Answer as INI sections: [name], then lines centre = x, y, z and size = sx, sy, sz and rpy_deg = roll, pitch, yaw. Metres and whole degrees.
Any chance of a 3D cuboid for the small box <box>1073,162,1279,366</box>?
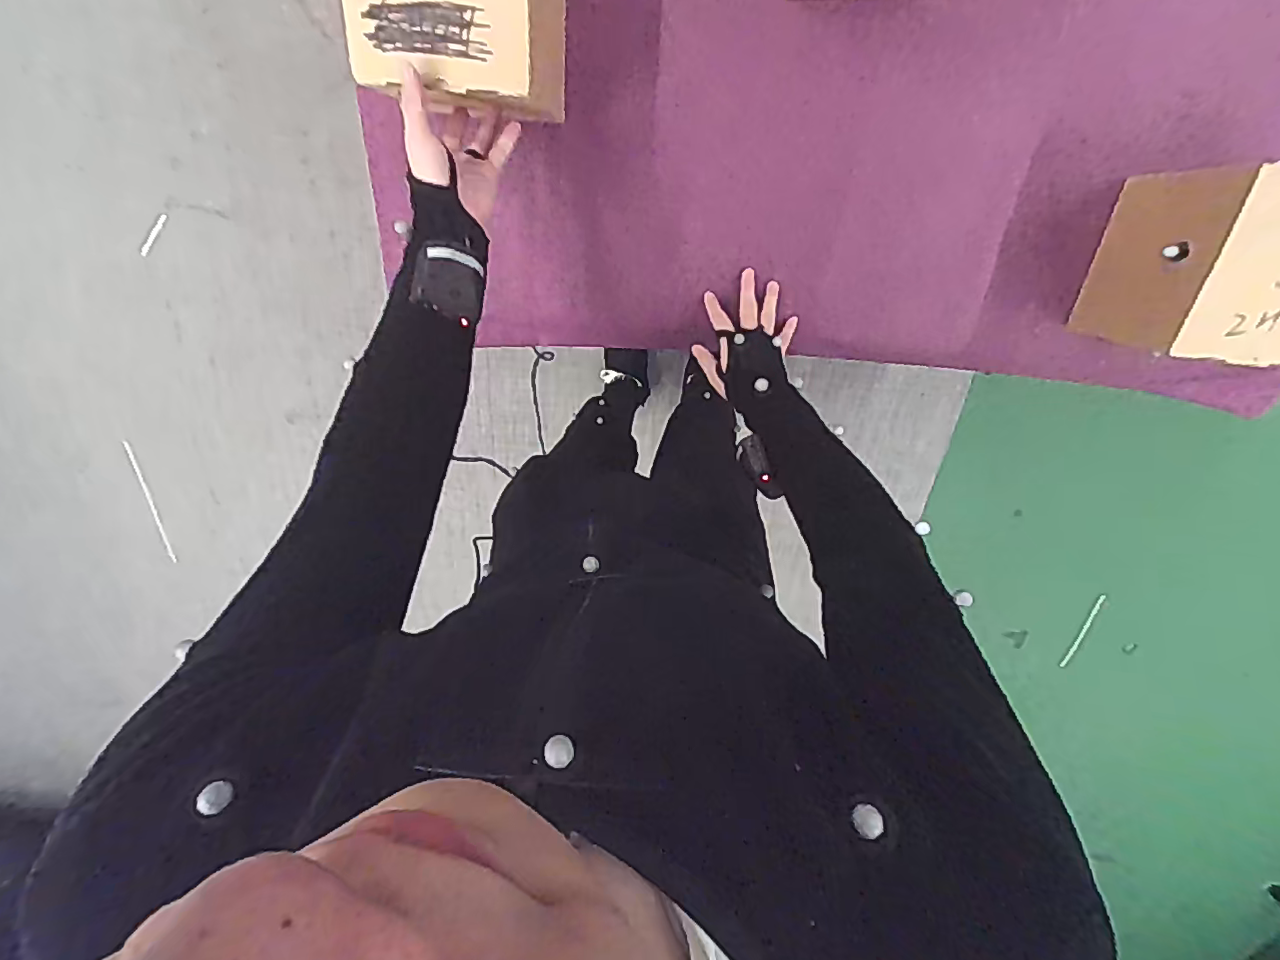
[small box]
centre = 0.634, -0.235, 0.594
size = 0.168, 0.176, 0.179
rpy_deg = 6, 117, 2
